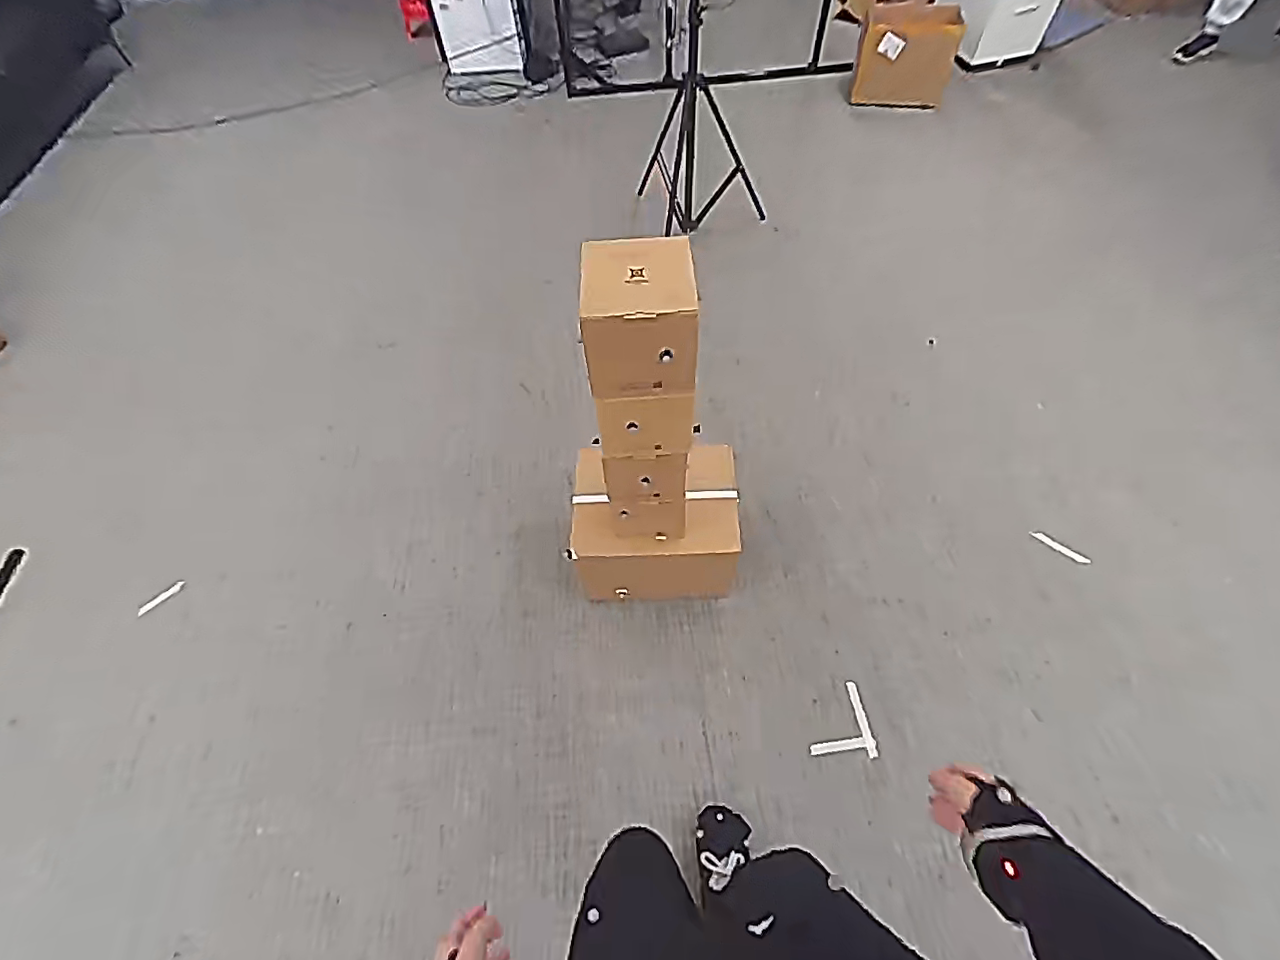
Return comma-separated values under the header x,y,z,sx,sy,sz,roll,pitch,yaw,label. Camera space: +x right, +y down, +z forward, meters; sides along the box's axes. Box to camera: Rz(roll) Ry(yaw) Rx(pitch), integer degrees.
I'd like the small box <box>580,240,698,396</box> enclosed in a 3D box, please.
x,y,z,sx,sy,sz,roll,pitch,yaw,label
-0.001,-0.245,0.845,0.168,0.176,0.179,-3,56,0,small box

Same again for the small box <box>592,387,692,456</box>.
x,y,z,sx,sy,sz,roll,pitch,yaw,label
0.007,-0.154,0.979,0.168,0.176,0.179,-3,57,1,small box

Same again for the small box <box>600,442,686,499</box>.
x,y,z,sx,sy,sz,roll,pitch,yaw,label
0.010,-0.070,1.119,0.168,0.176,0.179,-1,59,2,small box
